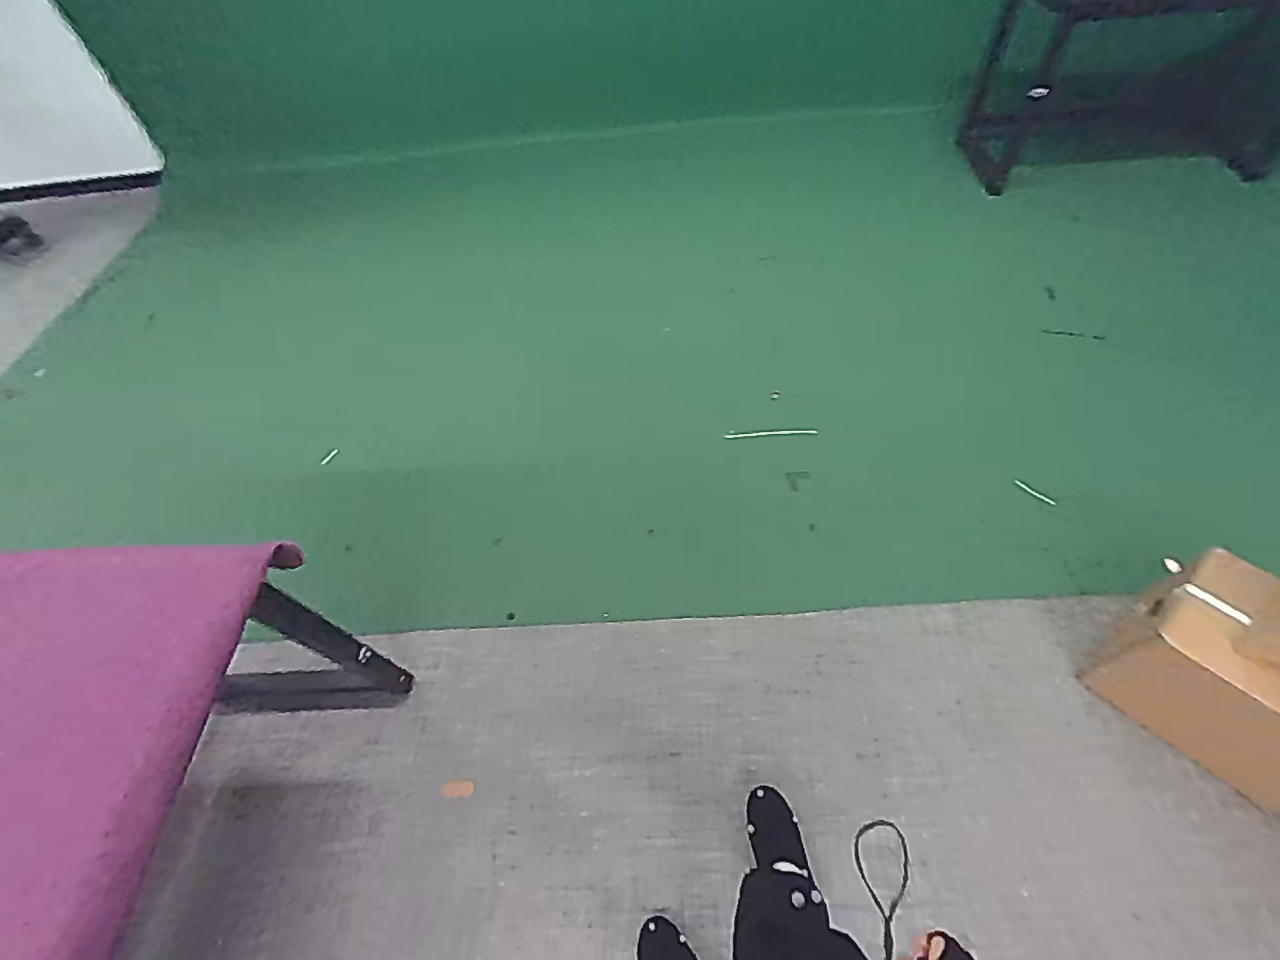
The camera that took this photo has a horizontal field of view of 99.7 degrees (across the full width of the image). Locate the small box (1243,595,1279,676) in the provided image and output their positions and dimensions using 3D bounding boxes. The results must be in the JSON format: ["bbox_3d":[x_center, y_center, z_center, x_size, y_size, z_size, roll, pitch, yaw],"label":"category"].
[{"bbox_3d":[1.294,0.288,0.994,0.179,0.176,0.168,-35,58,-18],"label":"small box"}]
